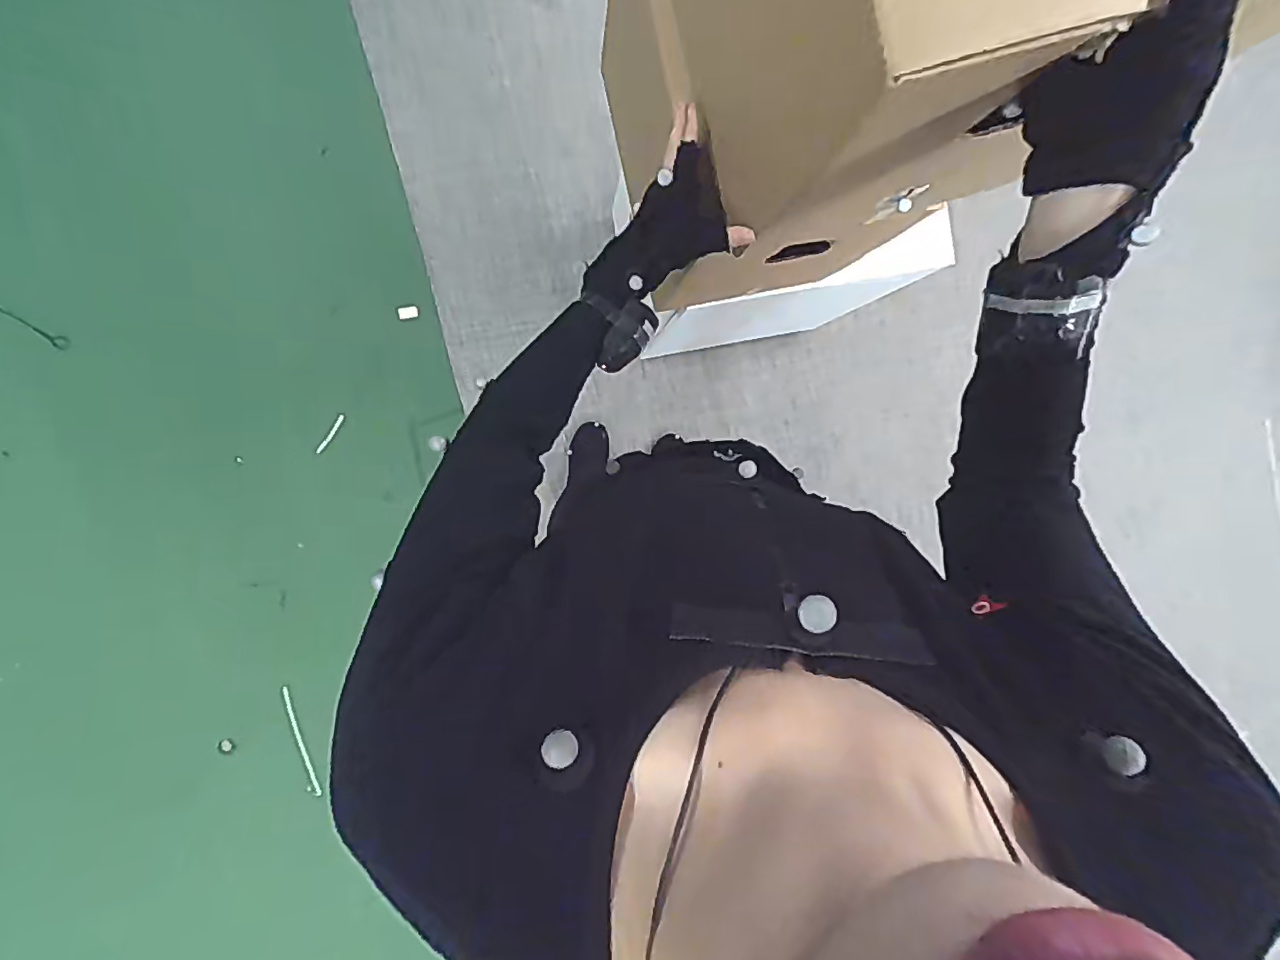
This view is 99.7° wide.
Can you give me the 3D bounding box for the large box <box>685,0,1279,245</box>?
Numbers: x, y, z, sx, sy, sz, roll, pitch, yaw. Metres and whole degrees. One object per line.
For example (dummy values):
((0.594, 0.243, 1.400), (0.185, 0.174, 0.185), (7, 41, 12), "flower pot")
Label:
((0.207, -0.455, 0.399), (0.320, 0.320, 0.408), (-15, 97, -1), "large box")
